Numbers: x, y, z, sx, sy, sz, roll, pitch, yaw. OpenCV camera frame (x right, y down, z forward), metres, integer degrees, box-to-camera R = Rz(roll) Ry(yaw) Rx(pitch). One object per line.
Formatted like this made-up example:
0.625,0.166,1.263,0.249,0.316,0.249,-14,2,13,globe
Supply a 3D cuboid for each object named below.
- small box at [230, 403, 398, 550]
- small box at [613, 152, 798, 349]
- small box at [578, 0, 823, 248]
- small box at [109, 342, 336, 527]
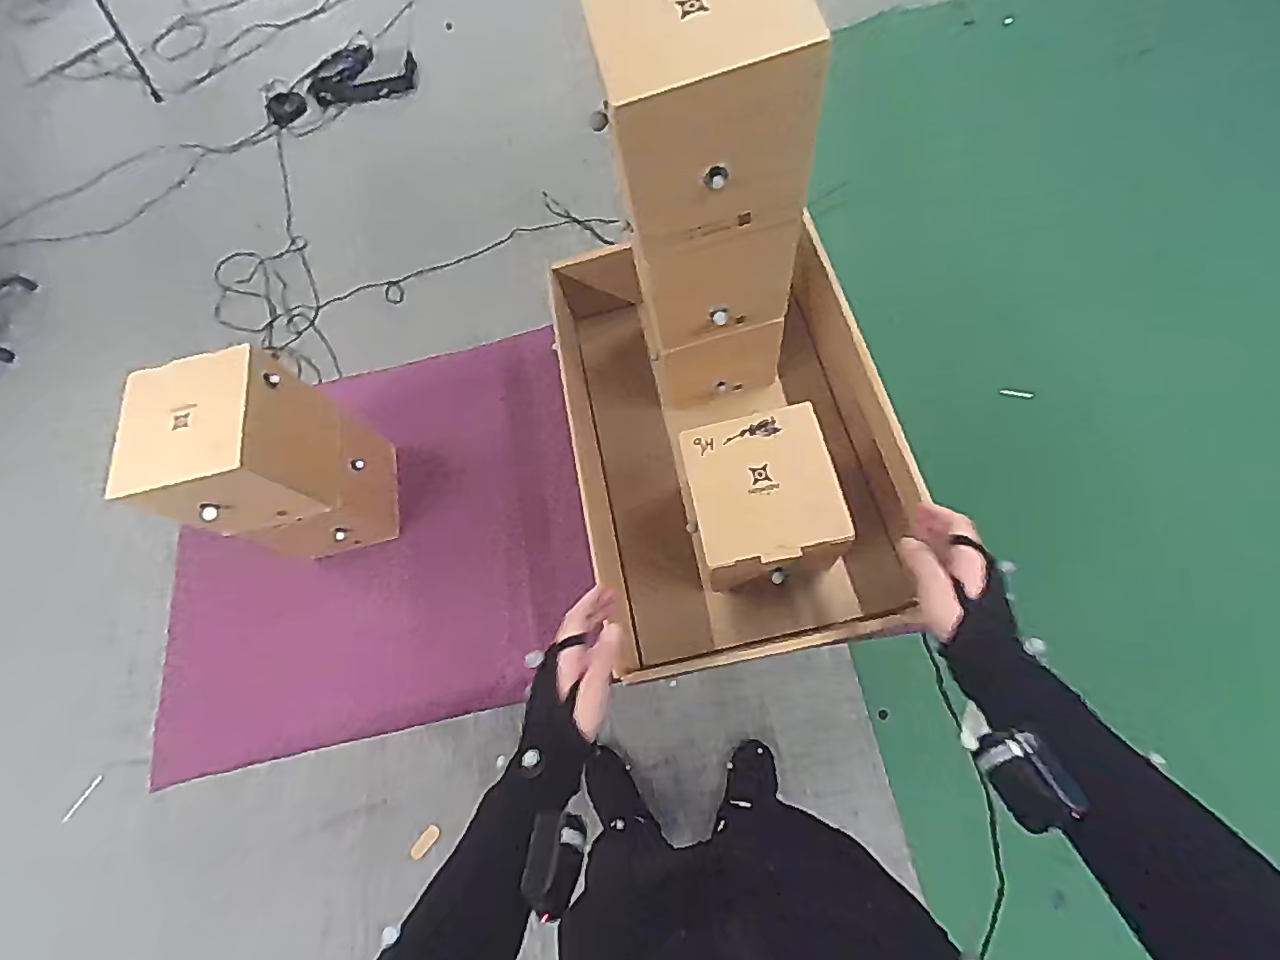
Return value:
-0.507,0.005,0.865,0.168,0.176,0.179,-13,68,3,small box
0.075,-0.290,0.650,0.168,0.176,0.179,-15,70,5,small box
0.051,-0.341,0.495,0.168,0.176,0.179,-14,69,4,small box
-0.529,-0.047,0.714,0.168,0.176,0.179,-13,68,3,small box
